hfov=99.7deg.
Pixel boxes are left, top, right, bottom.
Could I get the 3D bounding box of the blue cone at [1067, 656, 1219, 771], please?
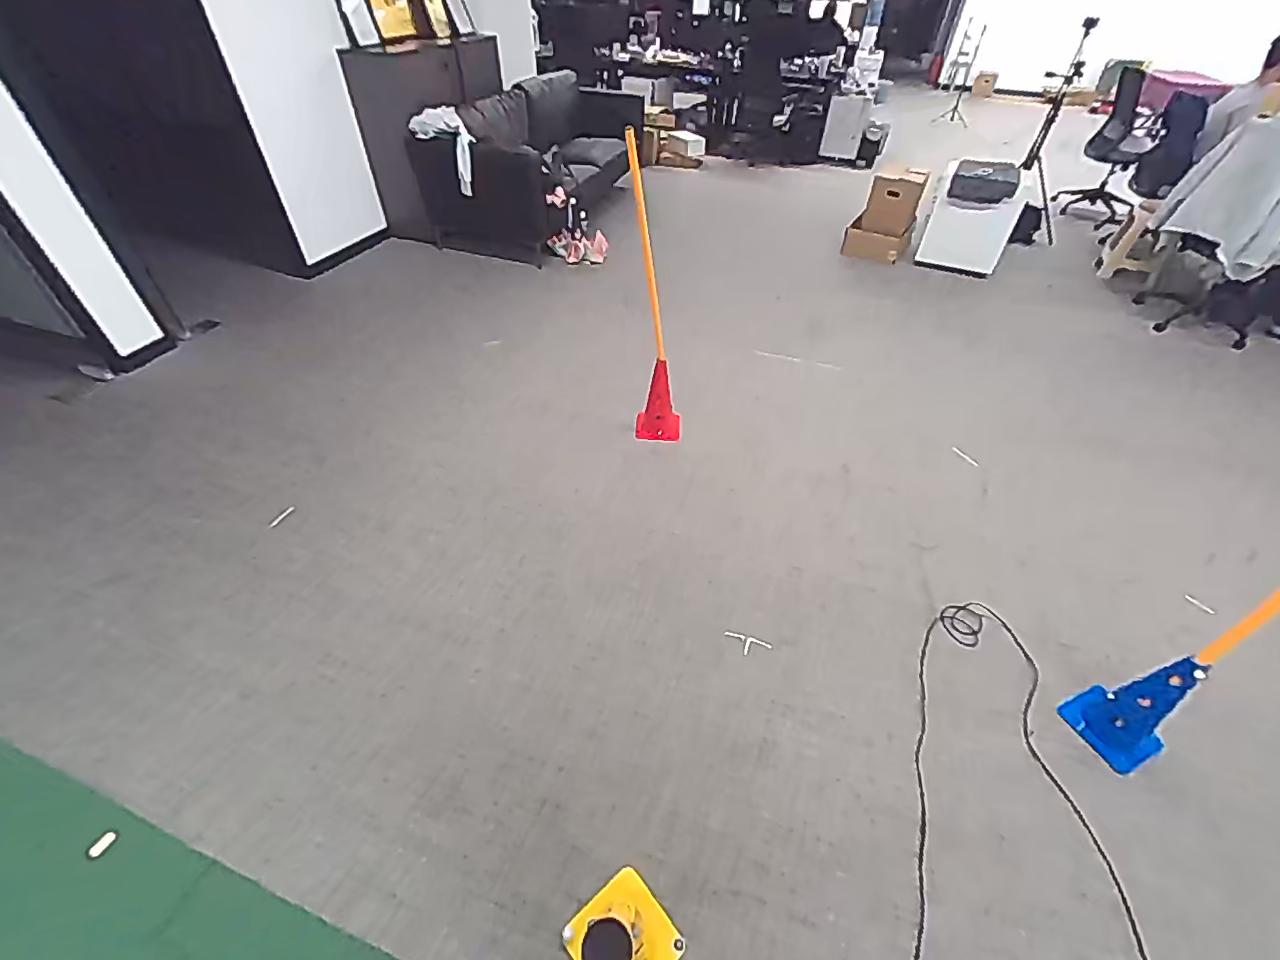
[{"bbox_3d":[1.330,0.565,1.403,0.193,0.380,0.192,-15,45,-21],"label":"blue cone"}]
